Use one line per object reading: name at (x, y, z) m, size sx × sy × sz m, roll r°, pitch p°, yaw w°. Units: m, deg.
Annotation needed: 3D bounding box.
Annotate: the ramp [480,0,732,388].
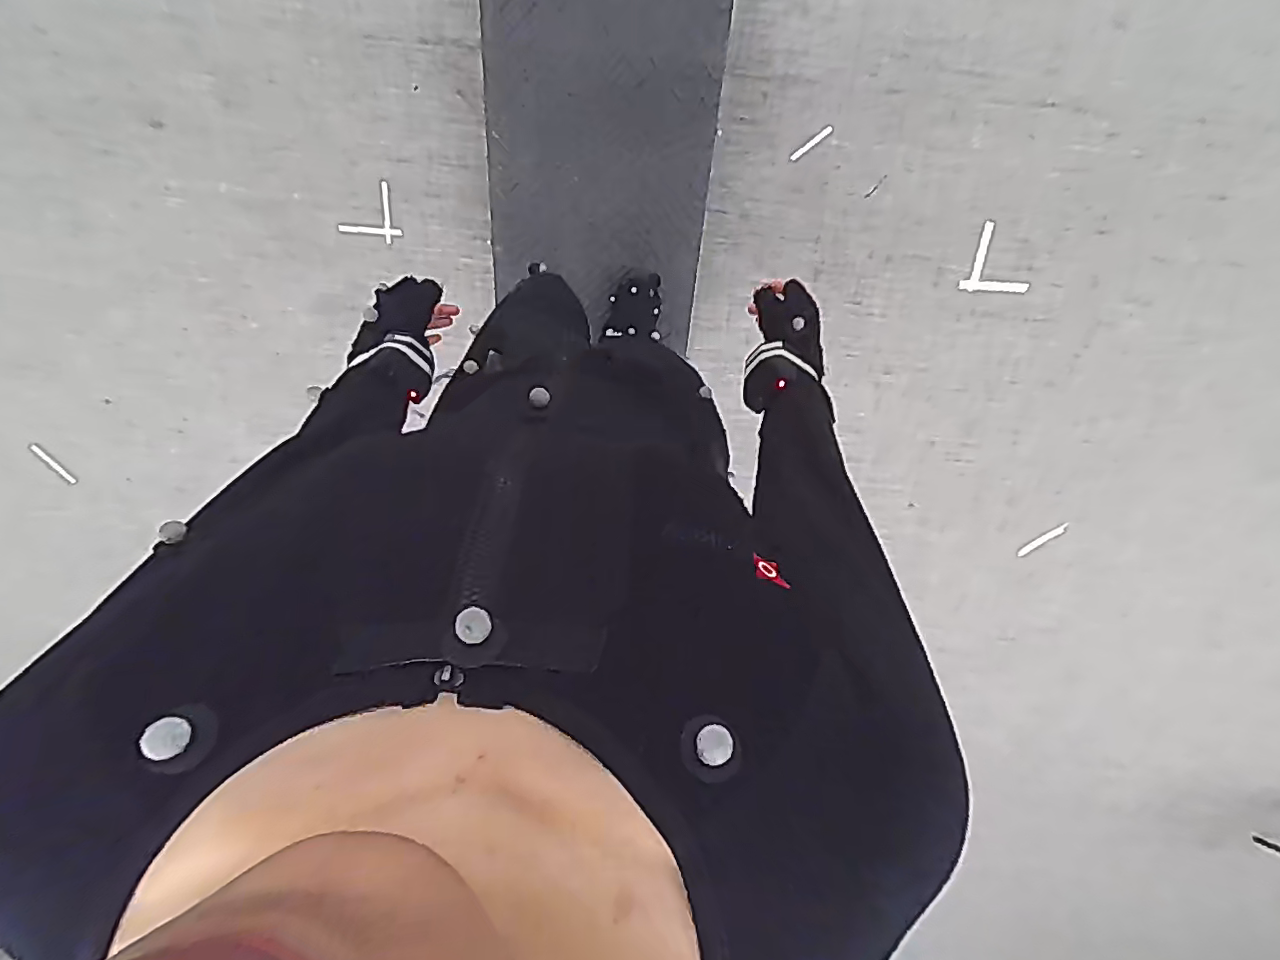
ramp at (-0.088, -0.685, 1.194) m, size 0.509 × 0.206 × 0.991 m, roll 3°, pitch 112°, yaw -2°
